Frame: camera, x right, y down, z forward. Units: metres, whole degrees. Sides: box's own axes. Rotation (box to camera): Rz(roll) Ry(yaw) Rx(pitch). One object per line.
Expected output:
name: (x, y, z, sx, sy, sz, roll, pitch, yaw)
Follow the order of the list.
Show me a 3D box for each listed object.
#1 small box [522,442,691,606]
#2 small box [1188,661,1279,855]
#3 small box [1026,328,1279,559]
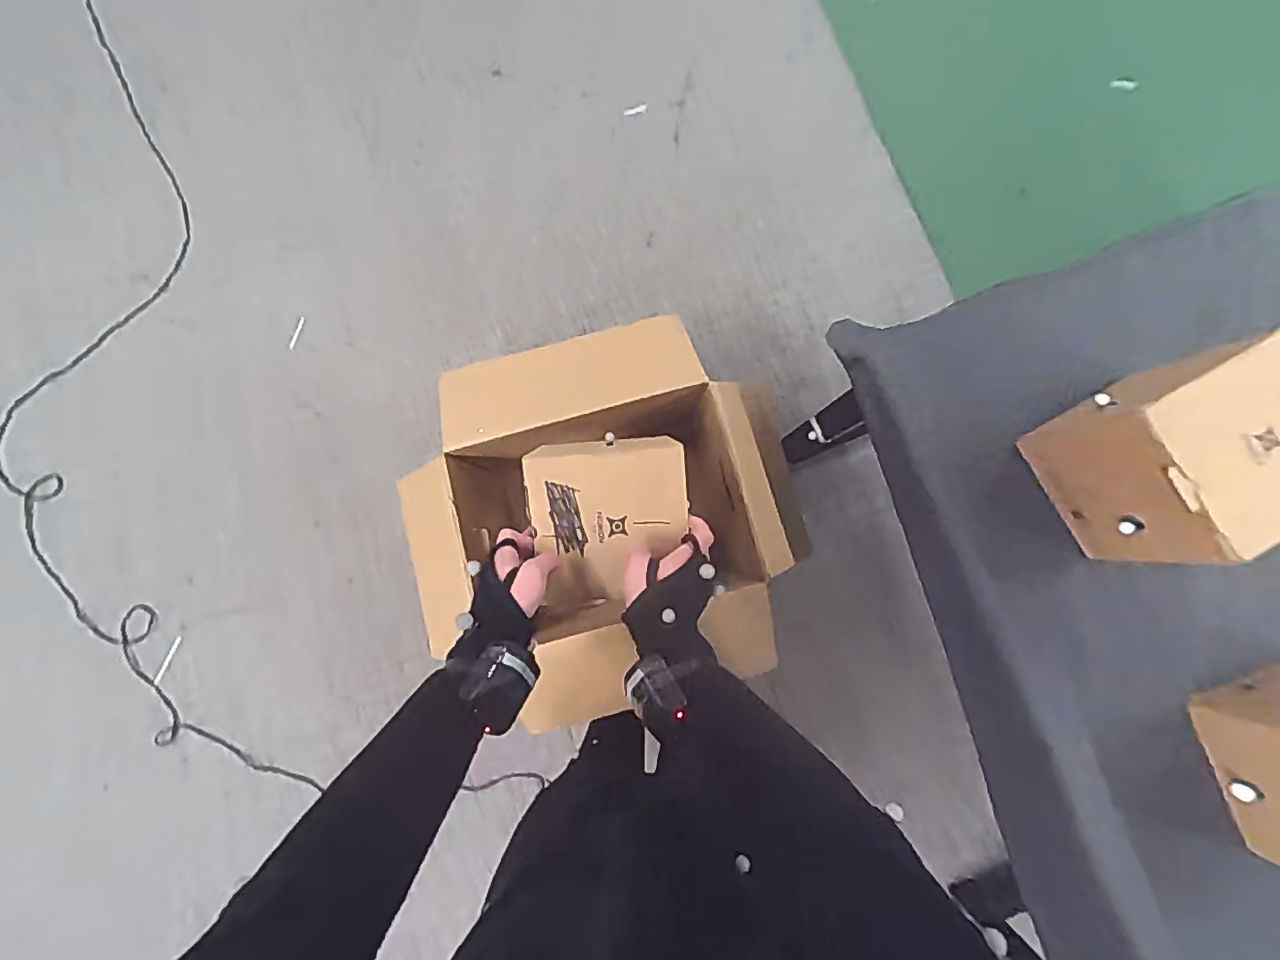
small box: (-0.038, 0.043, 0.666, 0.179, 0.176, 0.168, -5, 98, -3)
small box: (0.735, 0.300, 0.544, 0.168, 0.176, 0.179, -19, 84, -2)
small box: (0.568, -0.027, 0.584, 0.179, 0.176, 0.168, -30, 86, -6)
